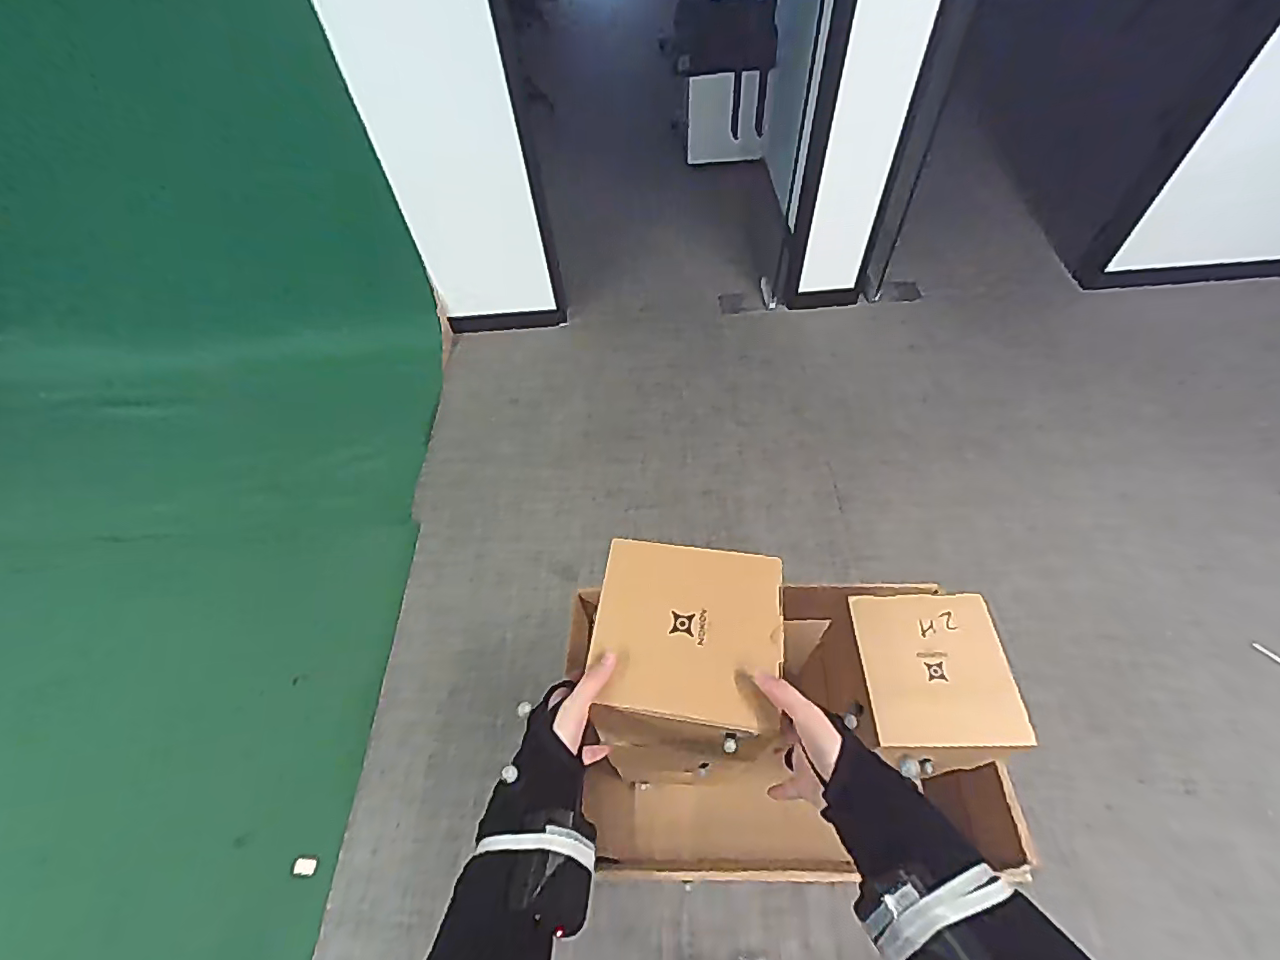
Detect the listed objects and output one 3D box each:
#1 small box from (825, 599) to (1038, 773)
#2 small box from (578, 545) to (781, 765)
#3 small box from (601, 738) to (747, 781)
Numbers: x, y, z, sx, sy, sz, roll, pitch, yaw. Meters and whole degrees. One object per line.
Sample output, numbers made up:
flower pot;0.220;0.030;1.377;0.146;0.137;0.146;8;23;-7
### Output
small box;0.345;0.265;0.684;0.168;0.176;0.179;-2;54;4
small box;0.046;0.188;0.569;0.179;0.176;0.168;6;55;7
small box;0.051;0.279;0.703;0.168;0.176;0.179;3;54;6
